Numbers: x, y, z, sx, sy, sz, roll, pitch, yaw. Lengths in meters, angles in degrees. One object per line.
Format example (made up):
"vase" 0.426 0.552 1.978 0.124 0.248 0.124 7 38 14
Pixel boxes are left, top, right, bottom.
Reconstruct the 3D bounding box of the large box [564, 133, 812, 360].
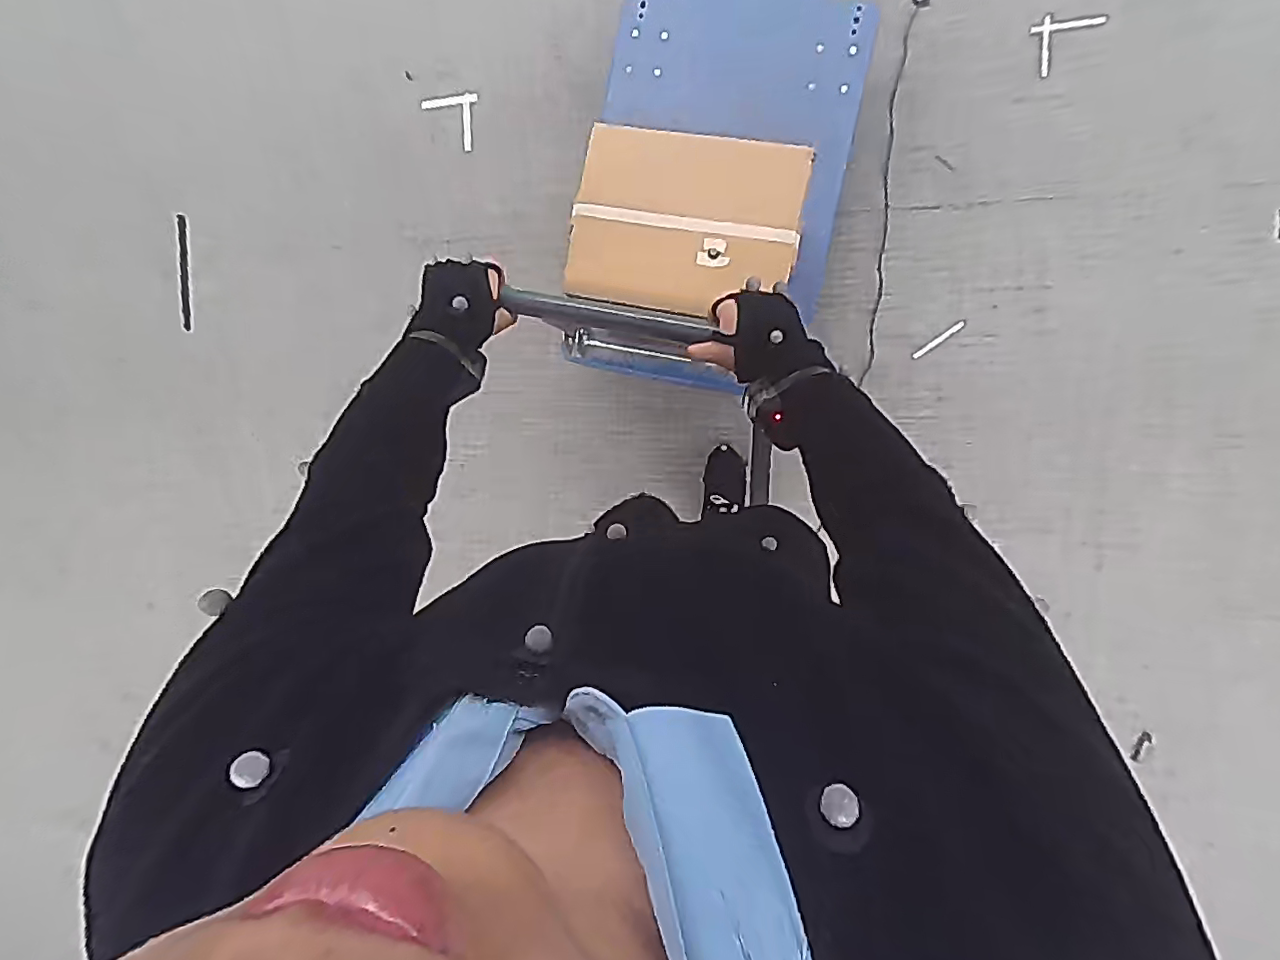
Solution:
"large box" 0.098 -0.453 1.113 0.408 0.320 0.320 12 96 9
